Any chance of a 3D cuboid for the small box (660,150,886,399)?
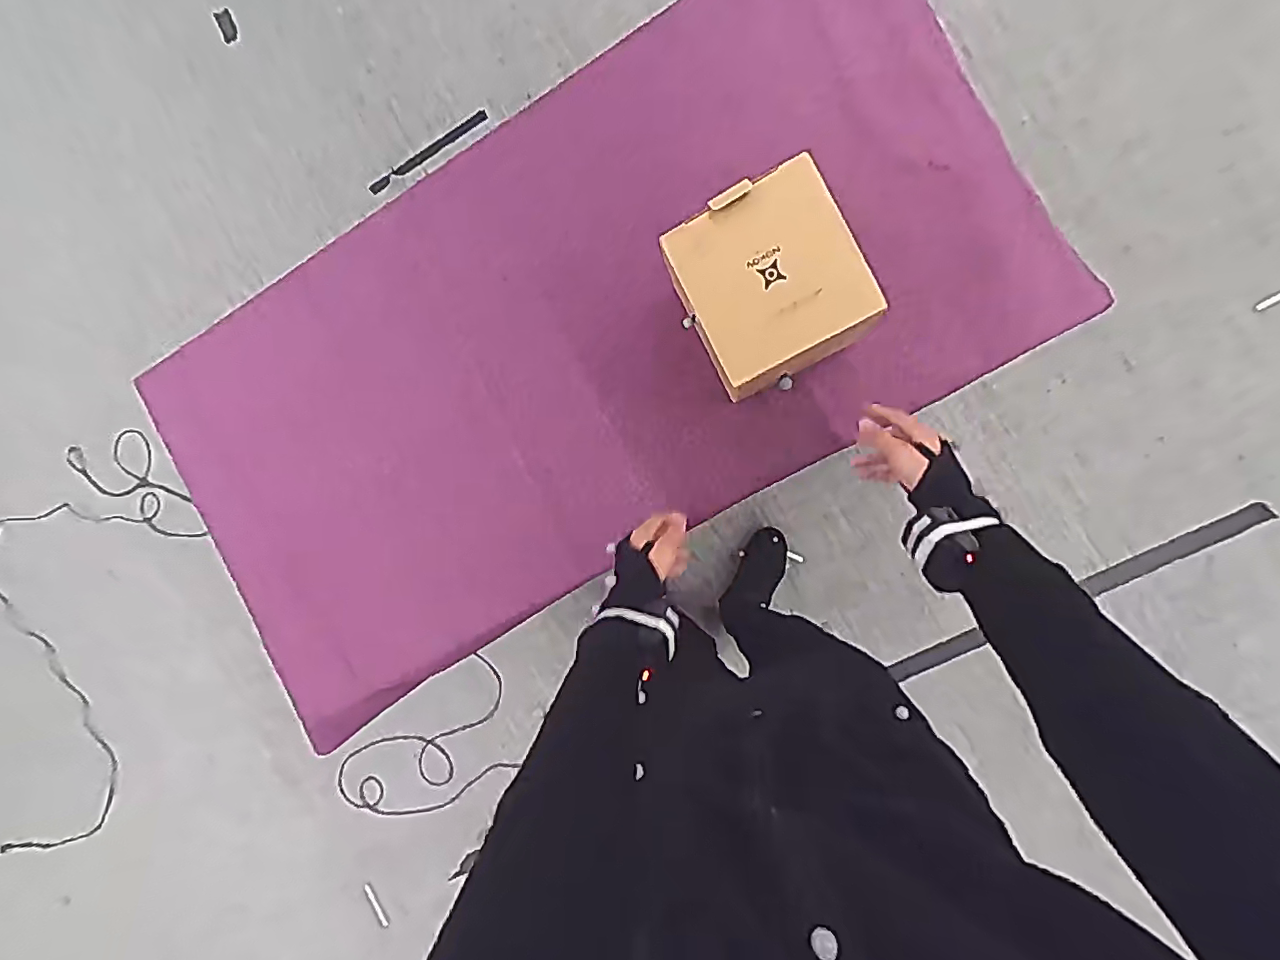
[{"bbox_3d":[0.139,-0.208,0.604,0.168,0.176,0.179,-26,87,10],"label":"small box"}]
